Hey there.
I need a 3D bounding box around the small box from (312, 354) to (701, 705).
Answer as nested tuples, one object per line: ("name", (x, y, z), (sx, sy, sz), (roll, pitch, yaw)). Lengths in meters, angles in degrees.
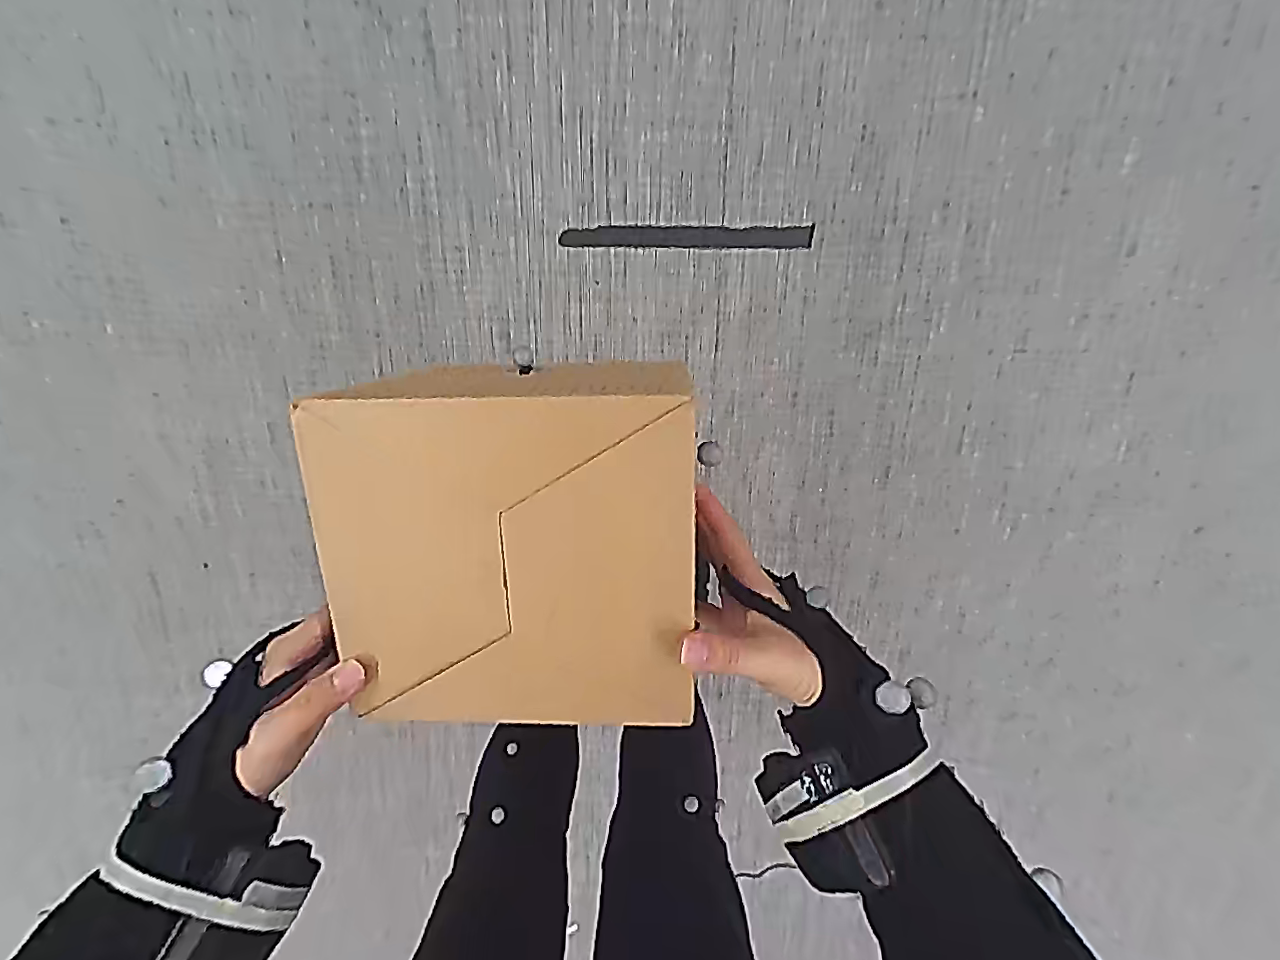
("small box", (-0.053, 0.016, 0.330), (0.179, 0.176, 0.168), (0, 107, 3))
